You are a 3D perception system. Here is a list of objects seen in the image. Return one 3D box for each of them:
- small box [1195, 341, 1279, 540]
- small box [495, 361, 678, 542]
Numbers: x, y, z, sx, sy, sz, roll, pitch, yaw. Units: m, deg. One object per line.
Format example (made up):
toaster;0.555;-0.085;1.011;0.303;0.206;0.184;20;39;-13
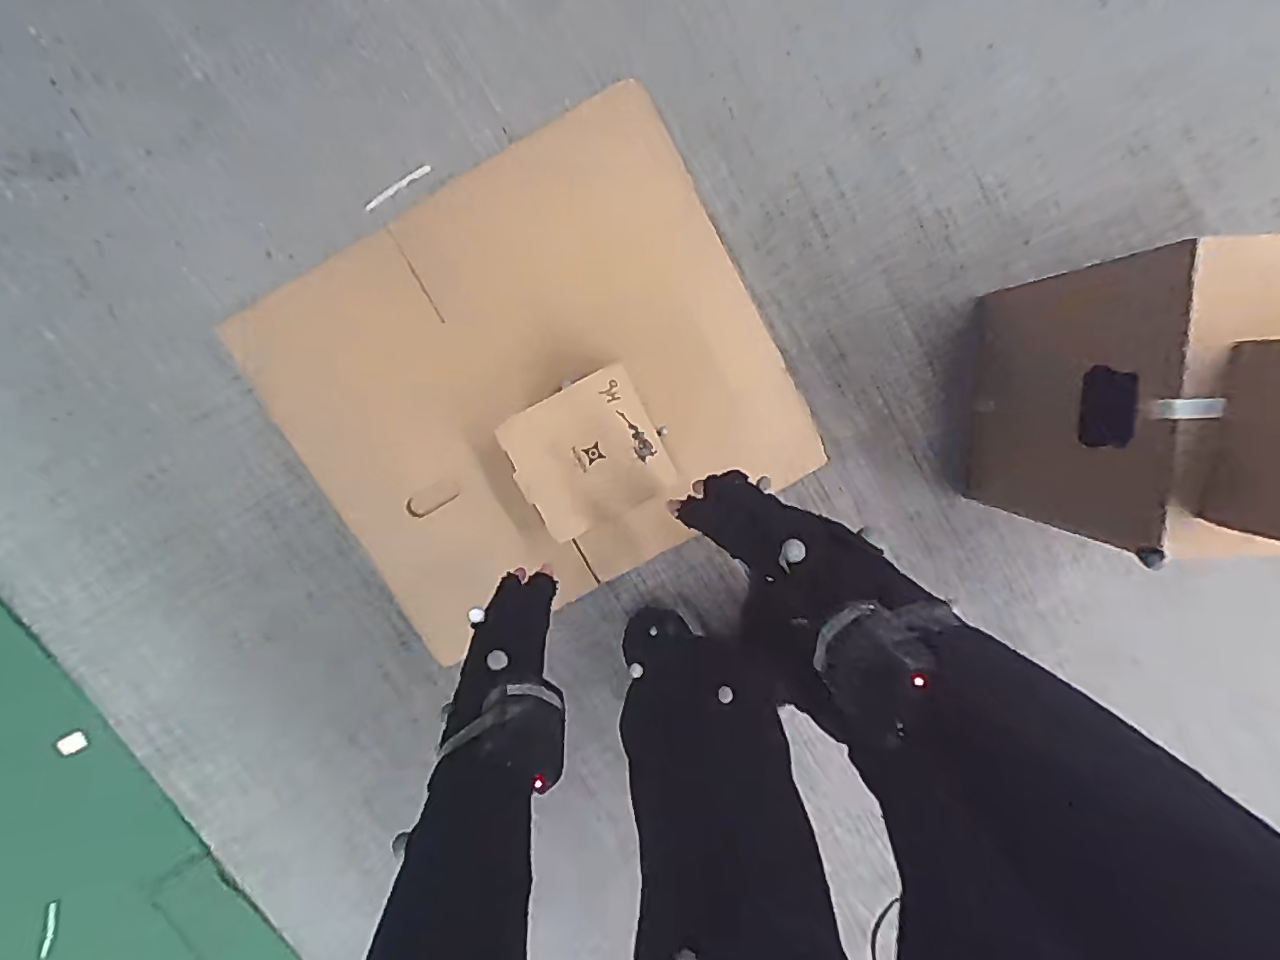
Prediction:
small box;0.628;-0.027;0.444;0.168;0.176;0.179;1;102;0
small box;-0.060;-0.042;0.735;0.179;0.176;0.168;-30;96;6
